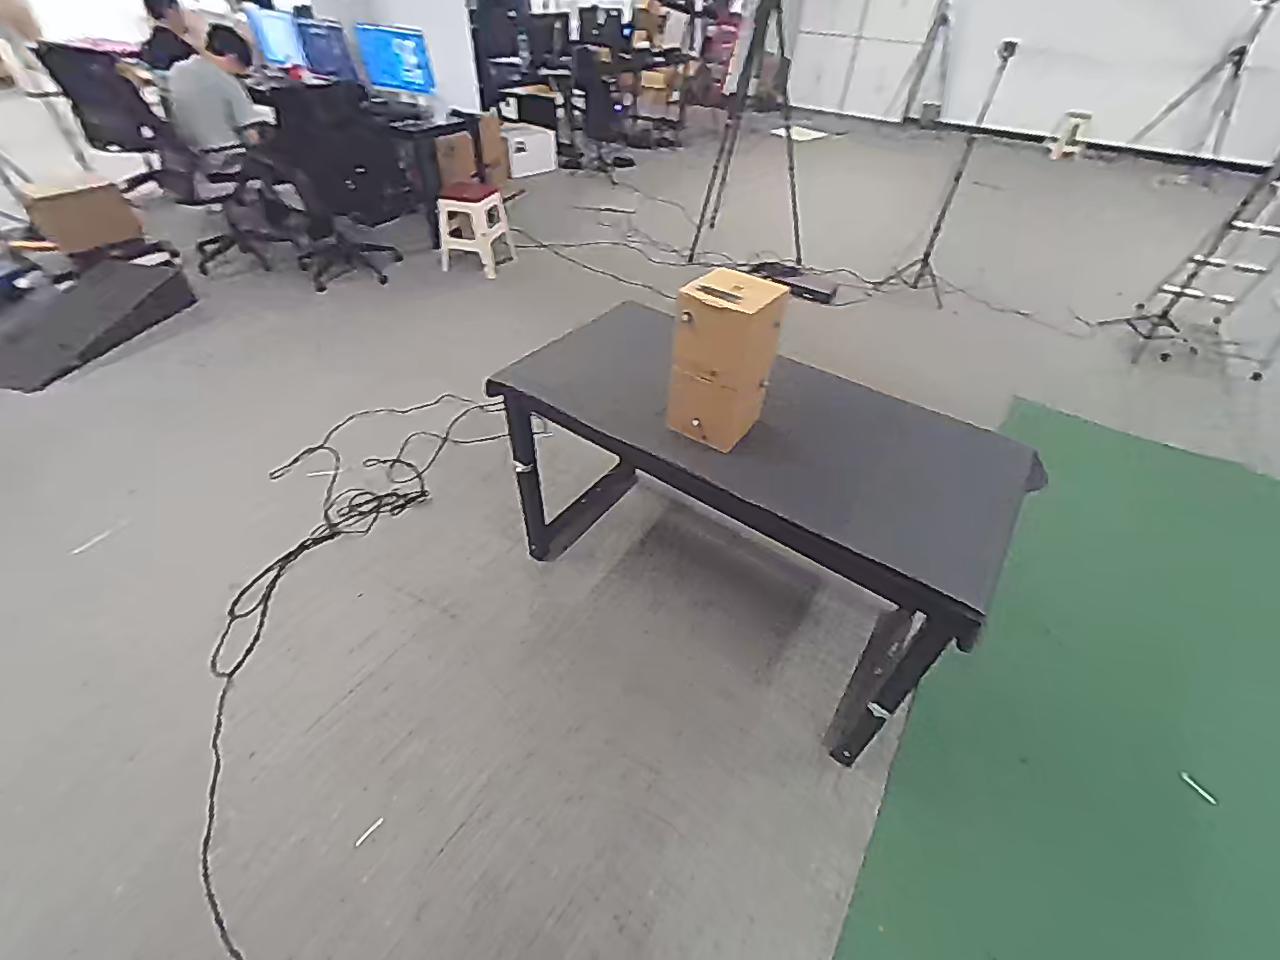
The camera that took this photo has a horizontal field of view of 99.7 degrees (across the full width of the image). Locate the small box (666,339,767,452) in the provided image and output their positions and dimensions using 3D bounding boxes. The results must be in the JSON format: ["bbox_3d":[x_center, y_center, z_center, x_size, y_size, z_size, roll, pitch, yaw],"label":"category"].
[{"bbox_3d":[0.170,-0.196,1.249,0.168,0.176,0.179,26,47,23],"label":"small box"}]
